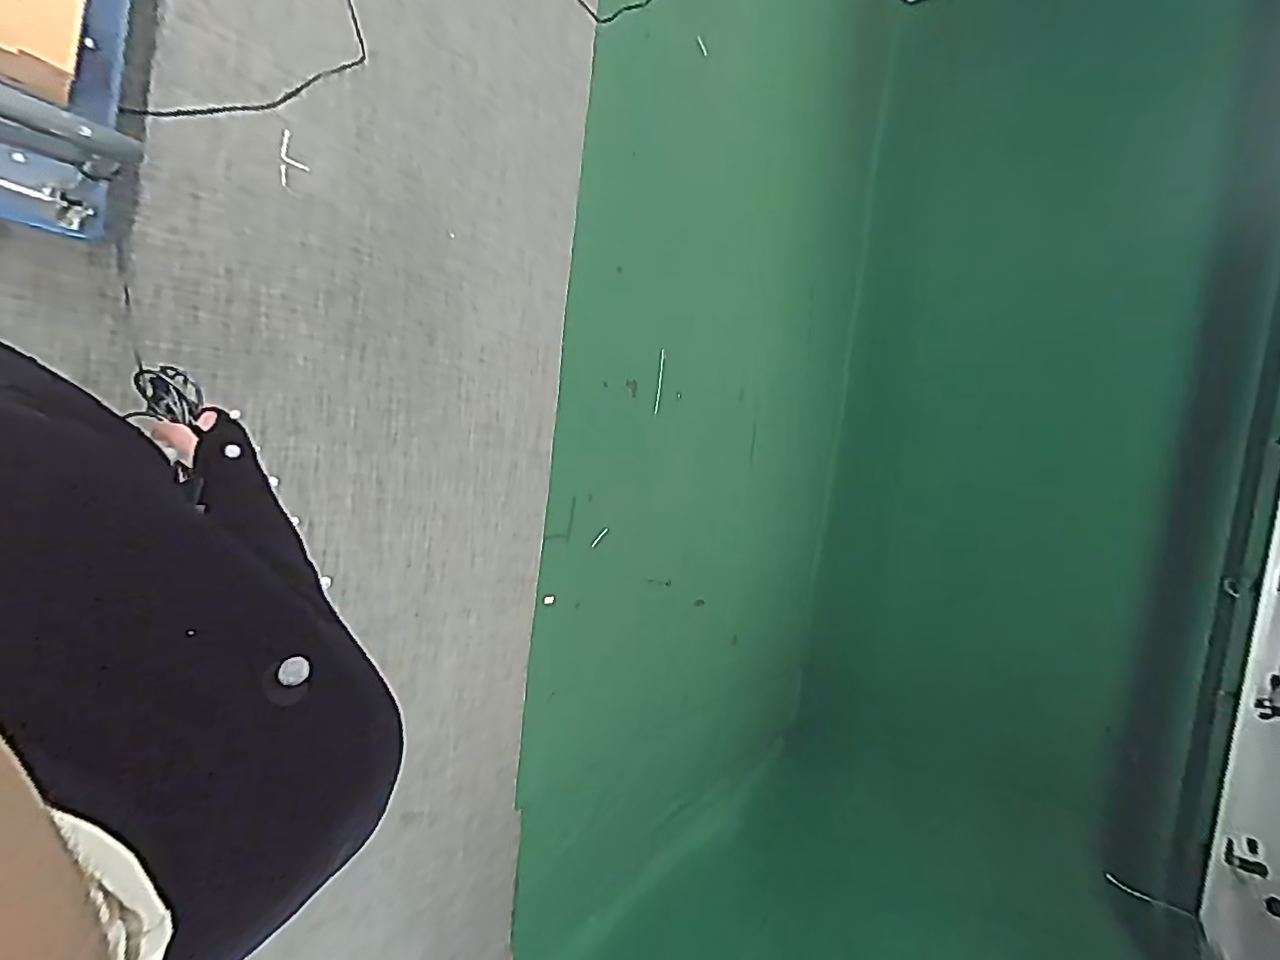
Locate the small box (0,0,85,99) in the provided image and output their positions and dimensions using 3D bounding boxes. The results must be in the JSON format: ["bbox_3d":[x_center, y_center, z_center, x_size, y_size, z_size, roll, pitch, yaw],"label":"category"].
[{"bbox_3d":[-1.009,-0.753,0.850,0.168,0.176,0.179,9,92,-52],"label":"small box"}]
